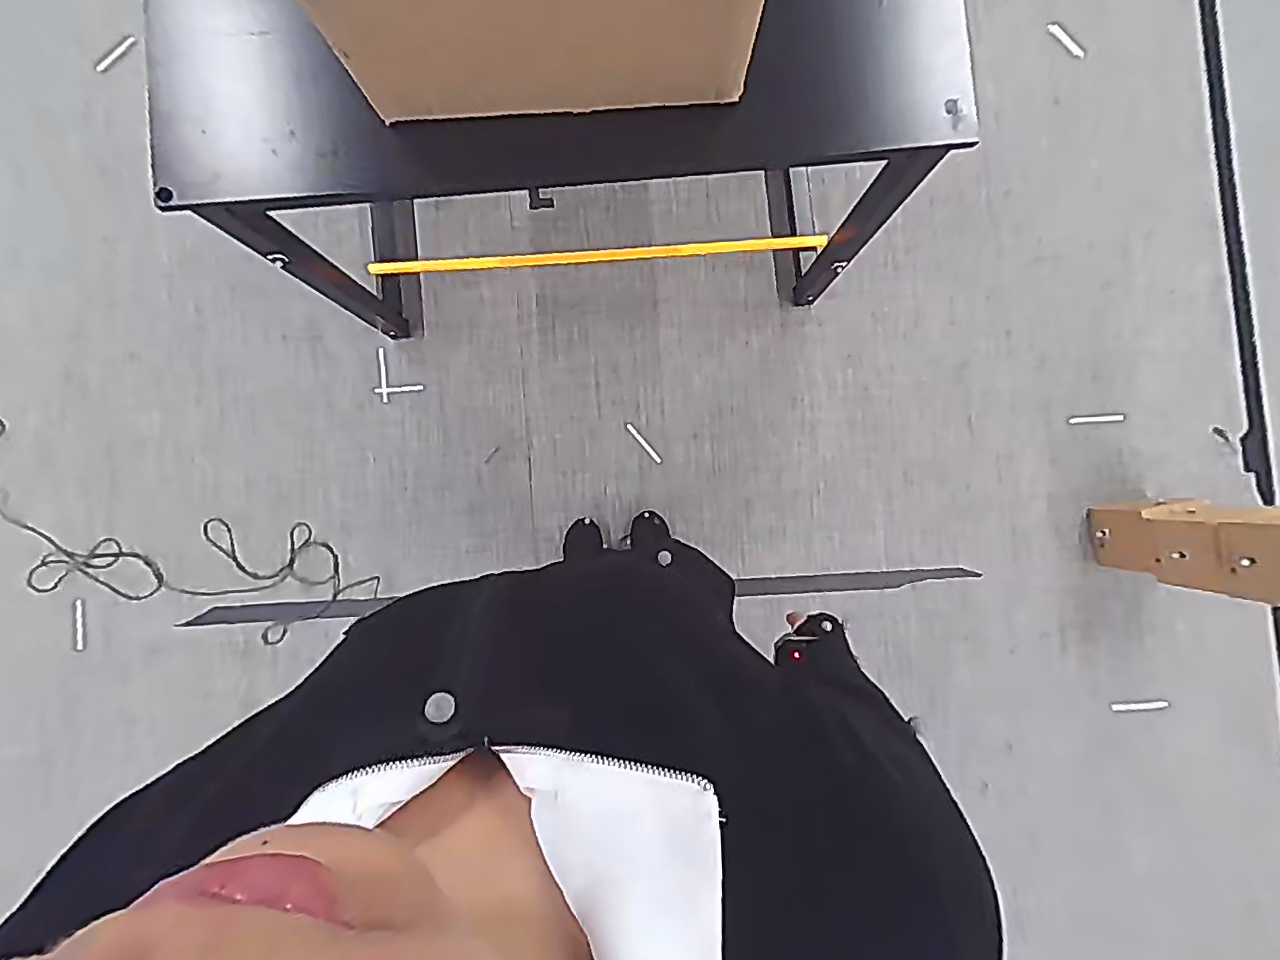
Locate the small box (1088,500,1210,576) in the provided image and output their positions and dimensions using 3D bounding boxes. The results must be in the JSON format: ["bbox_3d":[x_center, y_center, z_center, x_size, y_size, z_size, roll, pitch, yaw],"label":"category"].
[{"bbox_3d":[1.342,0.146,1.421,0.179,0.176,0.168,-10,88,1],"label":"small box"}]

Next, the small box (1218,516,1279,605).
[{"bbox_3d":[1.347,0.161,1.091,0.179,0.176,0.168,-6,87,0],"label":"small box"}]

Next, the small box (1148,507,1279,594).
[{"bbox_3d":[1.342,0.159,1.257,0.179,0.176,0.168,-11,88,0],"label":"small box"}]
